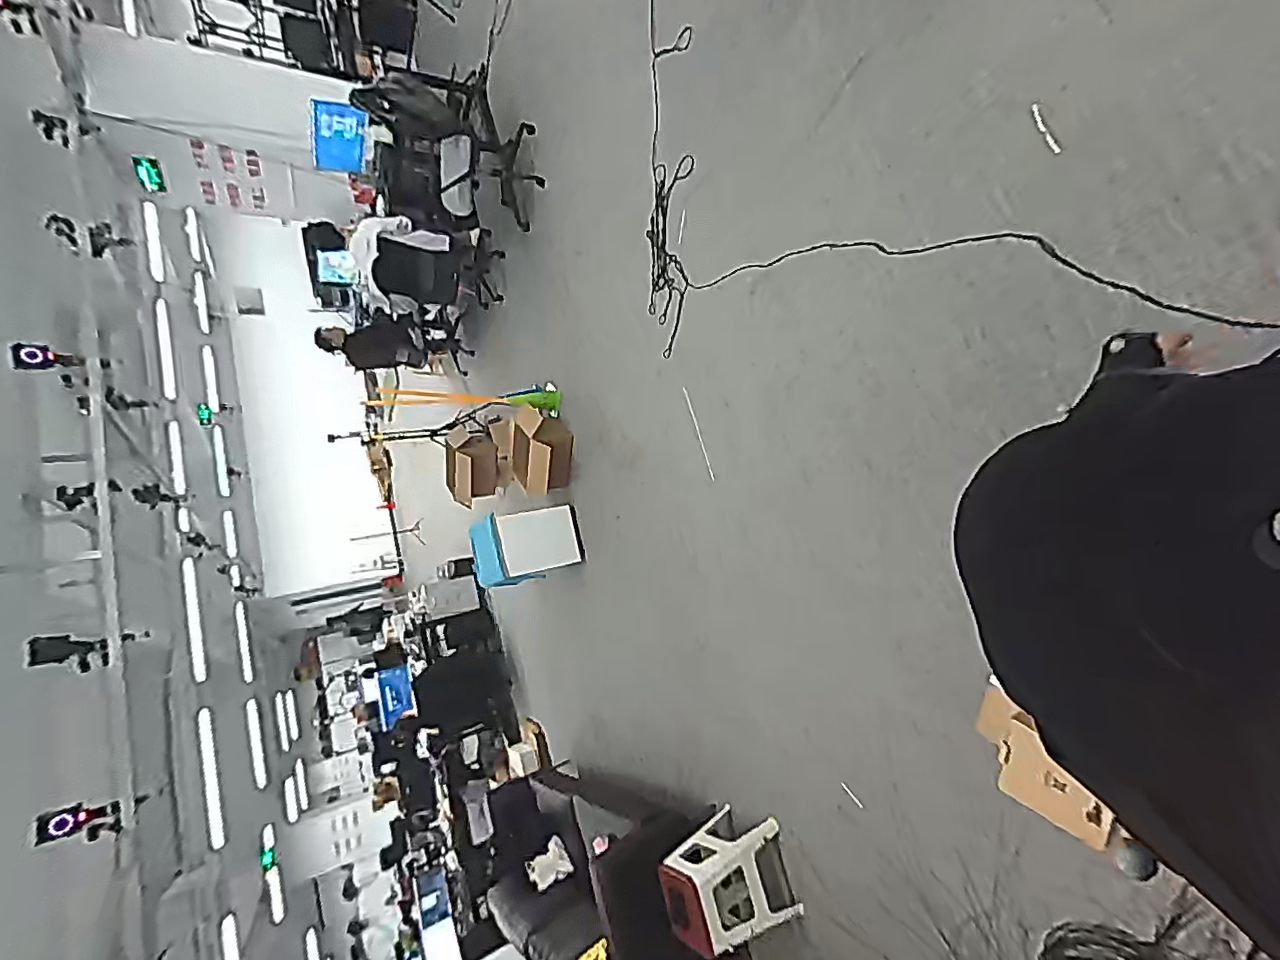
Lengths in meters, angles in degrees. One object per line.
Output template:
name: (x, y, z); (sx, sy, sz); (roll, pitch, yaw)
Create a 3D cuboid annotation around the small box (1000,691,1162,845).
small box: (0.831, 0.528, 1.025); (0.179, 0.176, 0.168); (22, 118, 55)
